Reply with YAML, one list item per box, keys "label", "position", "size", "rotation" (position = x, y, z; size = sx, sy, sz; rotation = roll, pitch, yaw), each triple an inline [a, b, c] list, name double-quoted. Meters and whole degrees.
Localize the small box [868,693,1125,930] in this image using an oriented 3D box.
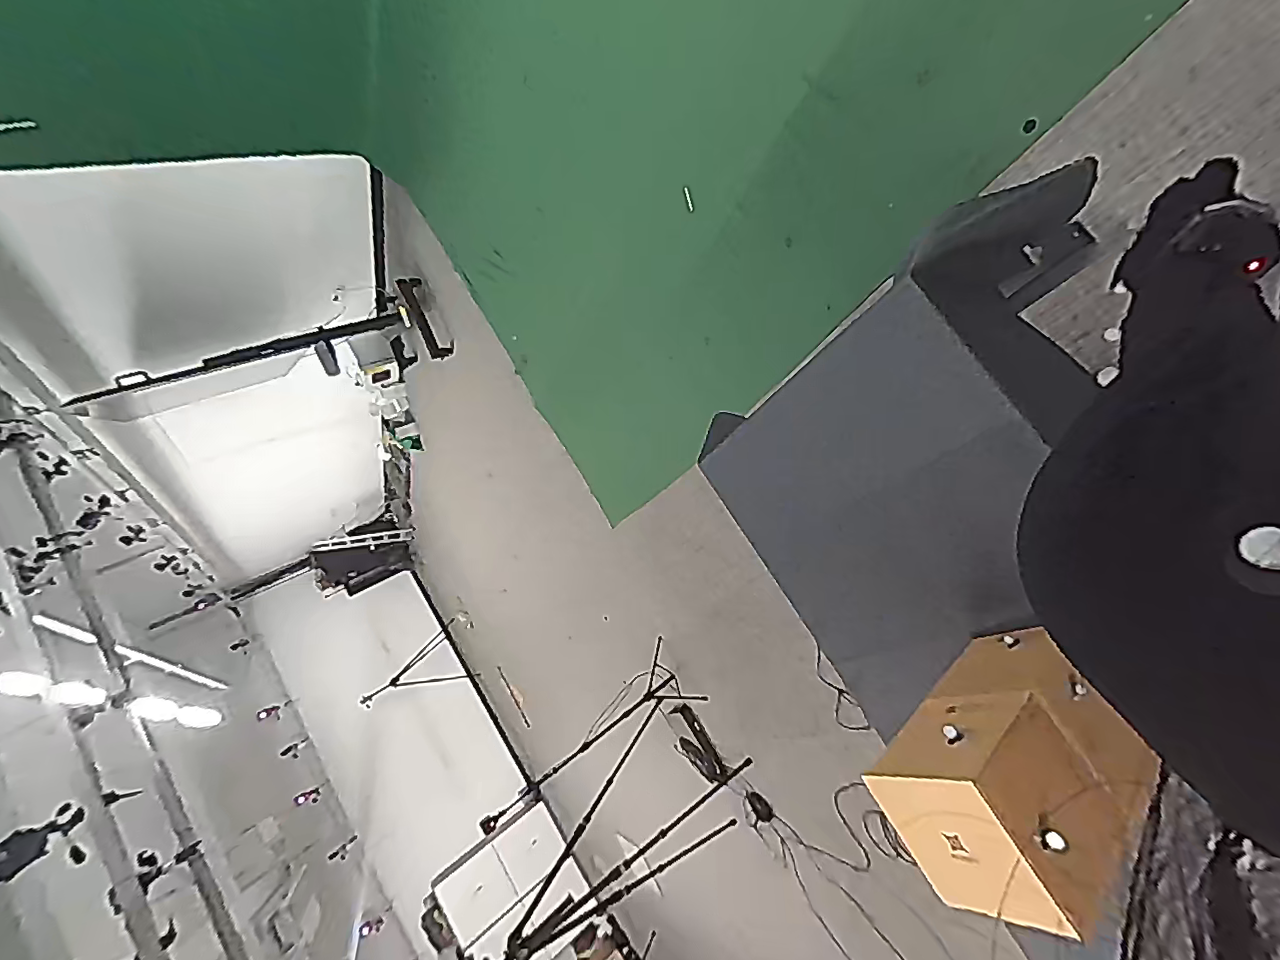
- label: "small box"
  position: [0.428, 0.379, 0.659]
  size: [0.179, 0.176, 0.168]
  rotation: [57, 147, 10]
